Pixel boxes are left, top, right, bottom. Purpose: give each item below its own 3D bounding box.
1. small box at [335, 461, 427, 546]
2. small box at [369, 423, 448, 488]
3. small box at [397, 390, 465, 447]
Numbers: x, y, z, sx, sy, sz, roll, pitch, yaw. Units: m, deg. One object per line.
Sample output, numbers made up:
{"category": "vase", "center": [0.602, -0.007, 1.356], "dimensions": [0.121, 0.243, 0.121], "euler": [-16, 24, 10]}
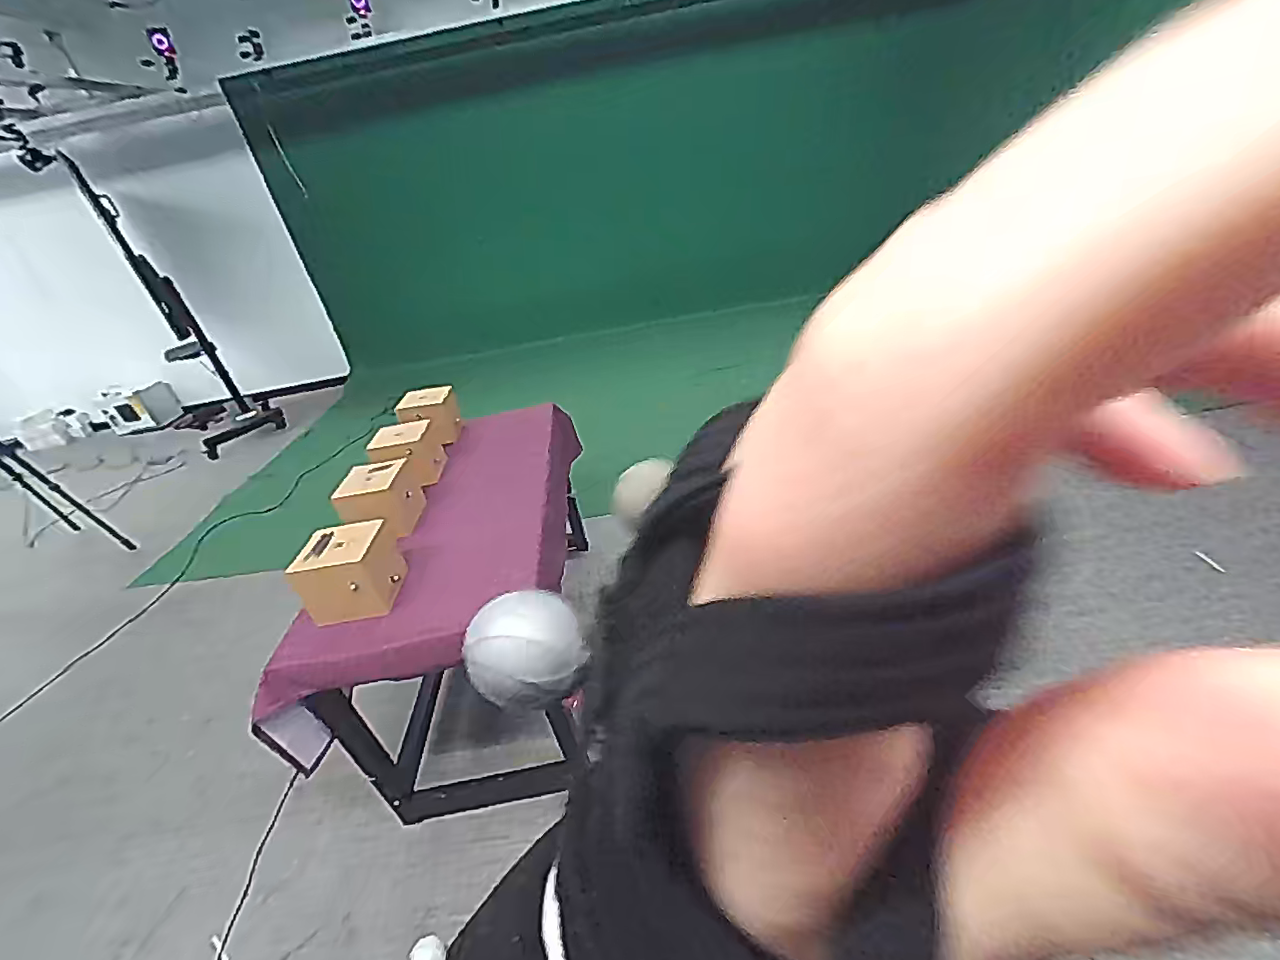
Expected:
{"category": "small box", "center": [-0.751, 0.069, 1.592], "dimensions": [0.168, 0.176, 0.179], "euler": [-10, 32, 2]}
{"category": "small box", "center": [-0.778, -0.074, 1.834], "dimensions": [0.179, 0.176, 0.168], "euler": [-10, 32, 0]}
{"category": "small box", "center": [-0.795, -0.229, 2.077], "dimensions": [0.179, 0.176, 0.168], "euler": [-7, 32, 1]}
